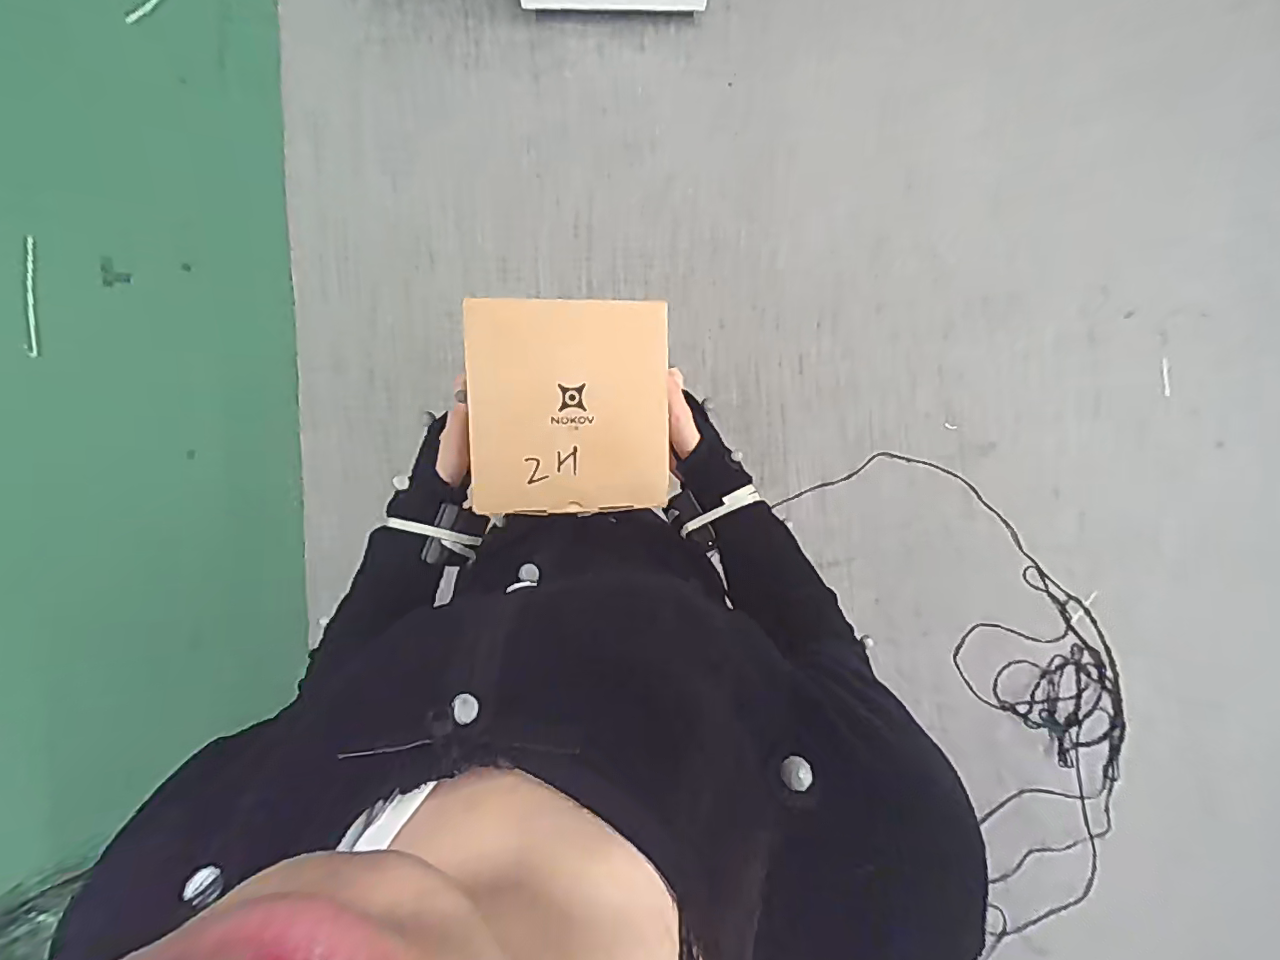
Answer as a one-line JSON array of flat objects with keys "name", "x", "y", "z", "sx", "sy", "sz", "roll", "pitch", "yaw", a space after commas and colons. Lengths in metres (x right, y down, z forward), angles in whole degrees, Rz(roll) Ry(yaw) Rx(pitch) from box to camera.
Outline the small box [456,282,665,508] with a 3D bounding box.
[{"name": "small box", "x": -0.073, "y": -0.073, "z": 0.507, "sx": 0.168, "sy": 0.176, "sz": 0.179, "roll": -1, "pitch": 97, "yaw": -9}]
